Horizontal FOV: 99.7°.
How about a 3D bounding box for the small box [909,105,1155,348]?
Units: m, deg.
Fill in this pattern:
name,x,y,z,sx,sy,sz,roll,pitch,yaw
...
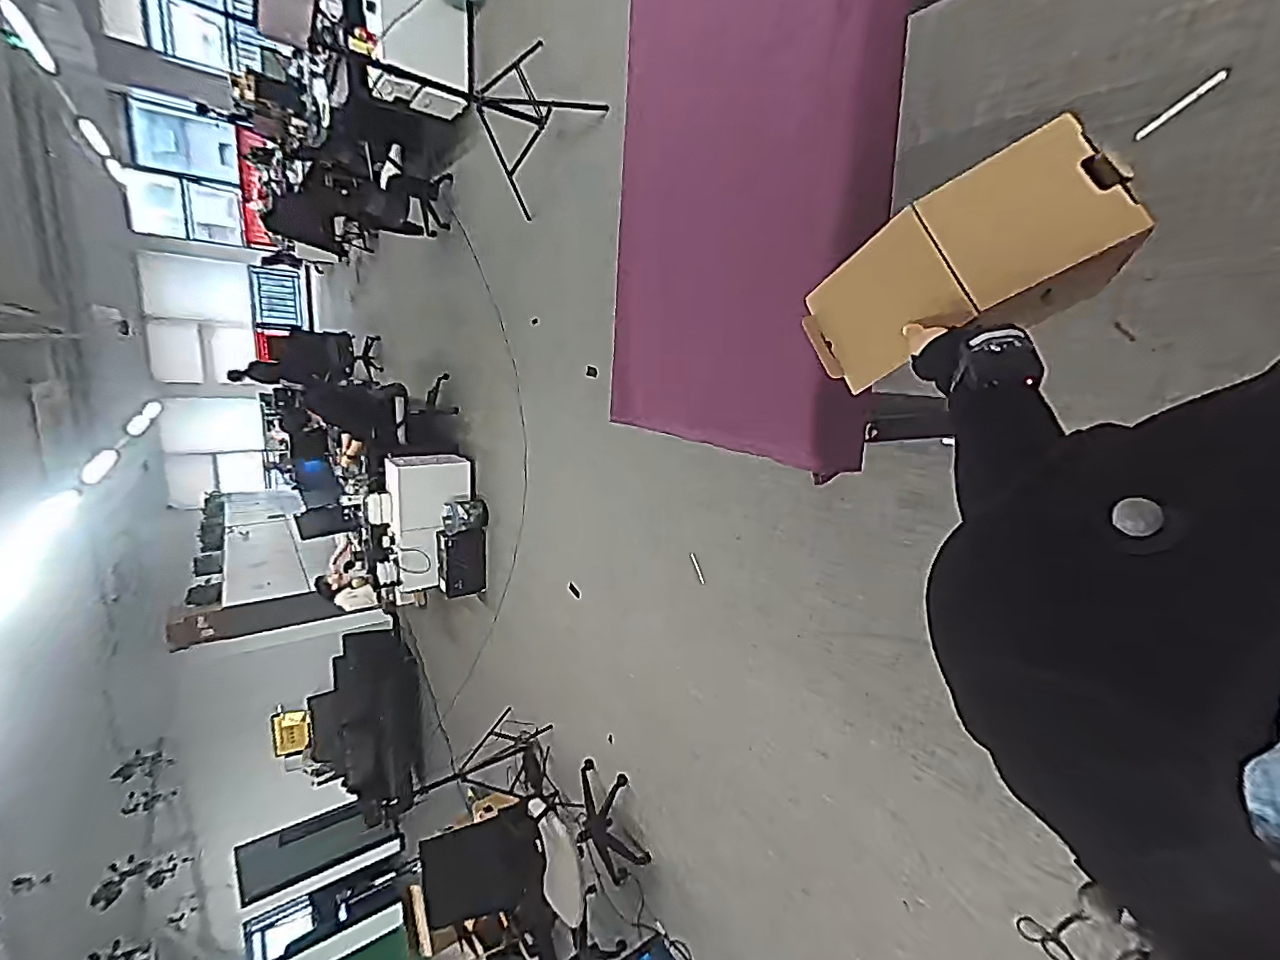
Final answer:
name,x,y,z,sx,sy,sz,roll,pitch,yaw
small box,0.454,-0.289,0.663,0.179,0.176,0.168,-26,74,21
